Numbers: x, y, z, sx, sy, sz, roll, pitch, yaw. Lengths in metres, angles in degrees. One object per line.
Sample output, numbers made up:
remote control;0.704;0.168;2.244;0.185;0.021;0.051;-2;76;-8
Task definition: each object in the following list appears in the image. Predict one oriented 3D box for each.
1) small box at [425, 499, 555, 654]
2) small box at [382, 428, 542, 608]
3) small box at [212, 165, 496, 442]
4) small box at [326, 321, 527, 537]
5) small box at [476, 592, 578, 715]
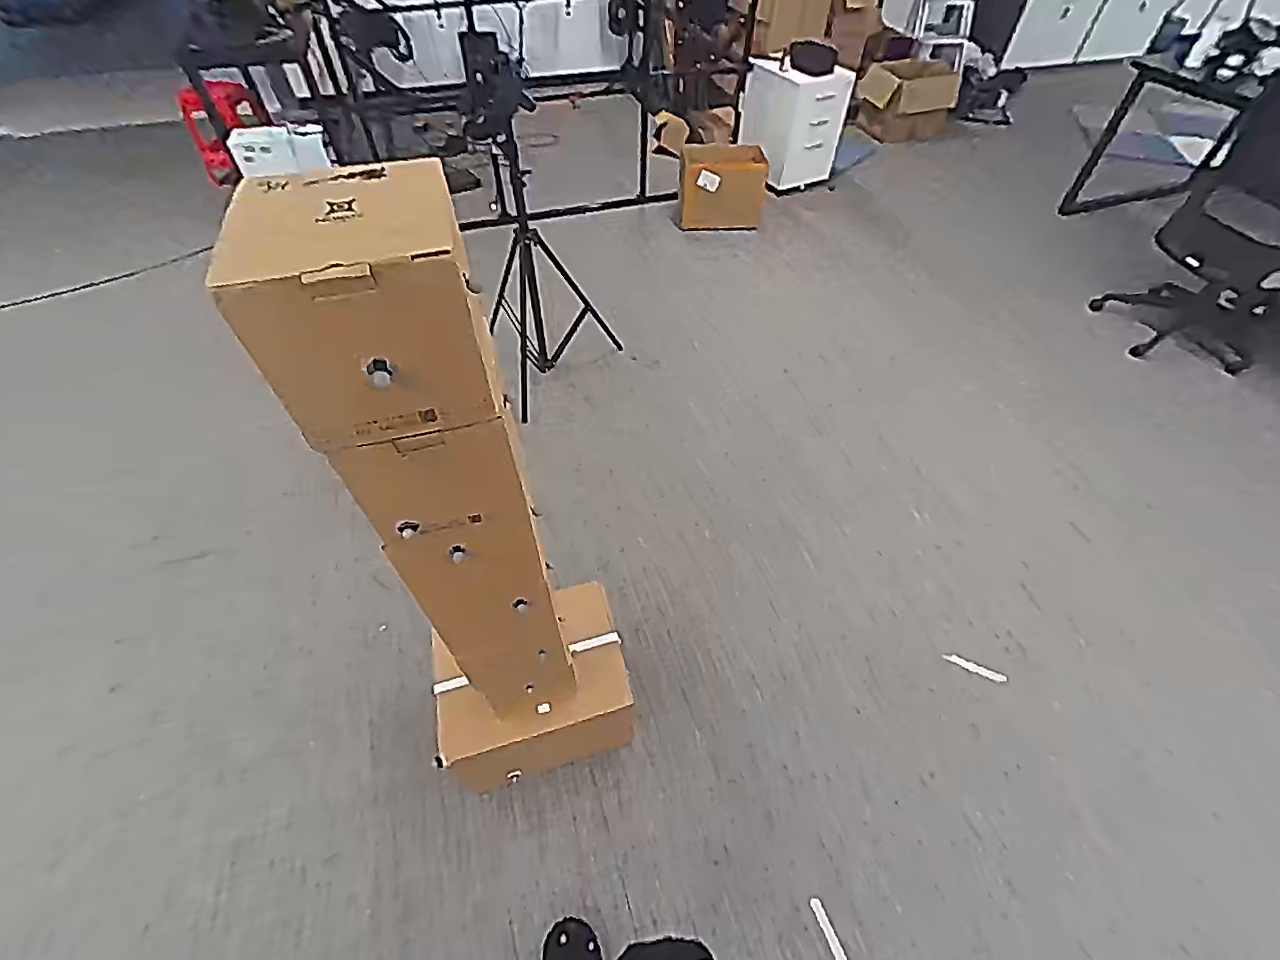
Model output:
small box;-0.236;0.156;0.871;0.179;0.176;0.168;-12;52;-11
small box;-0.236;0.053;0.746;0.179;0.176;0.168;-12;53;-10
small box;-0.236;-0.152;0.490;0.168;0.176;0.179;-13;54;-11
small box;-0.232;-0.052;0.619;0.168;0.176;0.179;-12;52;-10
small box;-0.236;0.365;1.125;0.179;0.176;0.168;-15;53;-14
